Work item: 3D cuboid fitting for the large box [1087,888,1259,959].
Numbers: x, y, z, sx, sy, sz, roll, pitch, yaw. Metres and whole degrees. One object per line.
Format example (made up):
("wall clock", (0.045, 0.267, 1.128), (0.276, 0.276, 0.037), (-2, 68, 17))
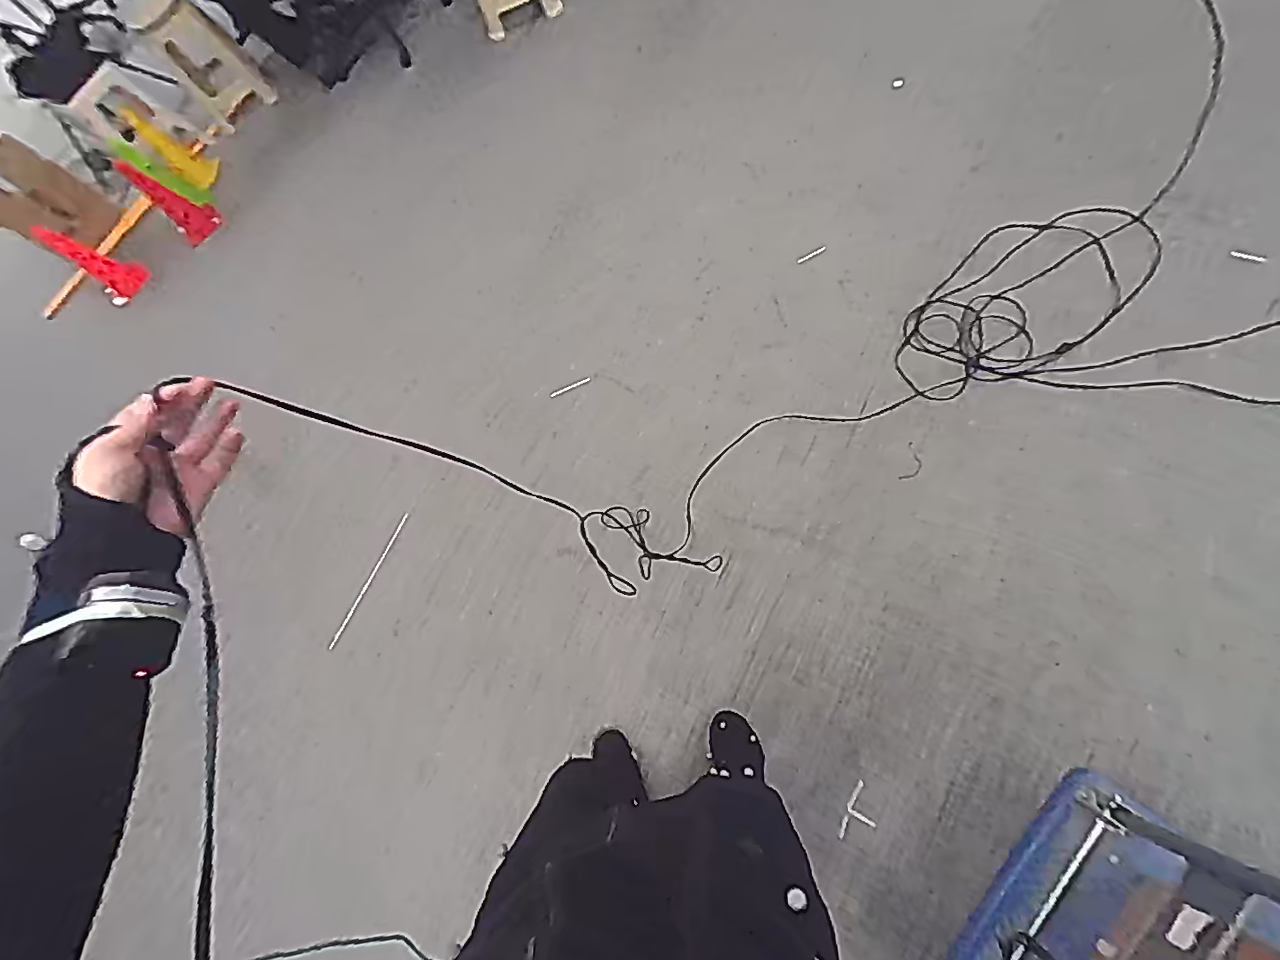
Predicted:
("large box", (0.898, 0.904, 0.746), (0.408, 0.320, 0.320), (39, 85, 22))
